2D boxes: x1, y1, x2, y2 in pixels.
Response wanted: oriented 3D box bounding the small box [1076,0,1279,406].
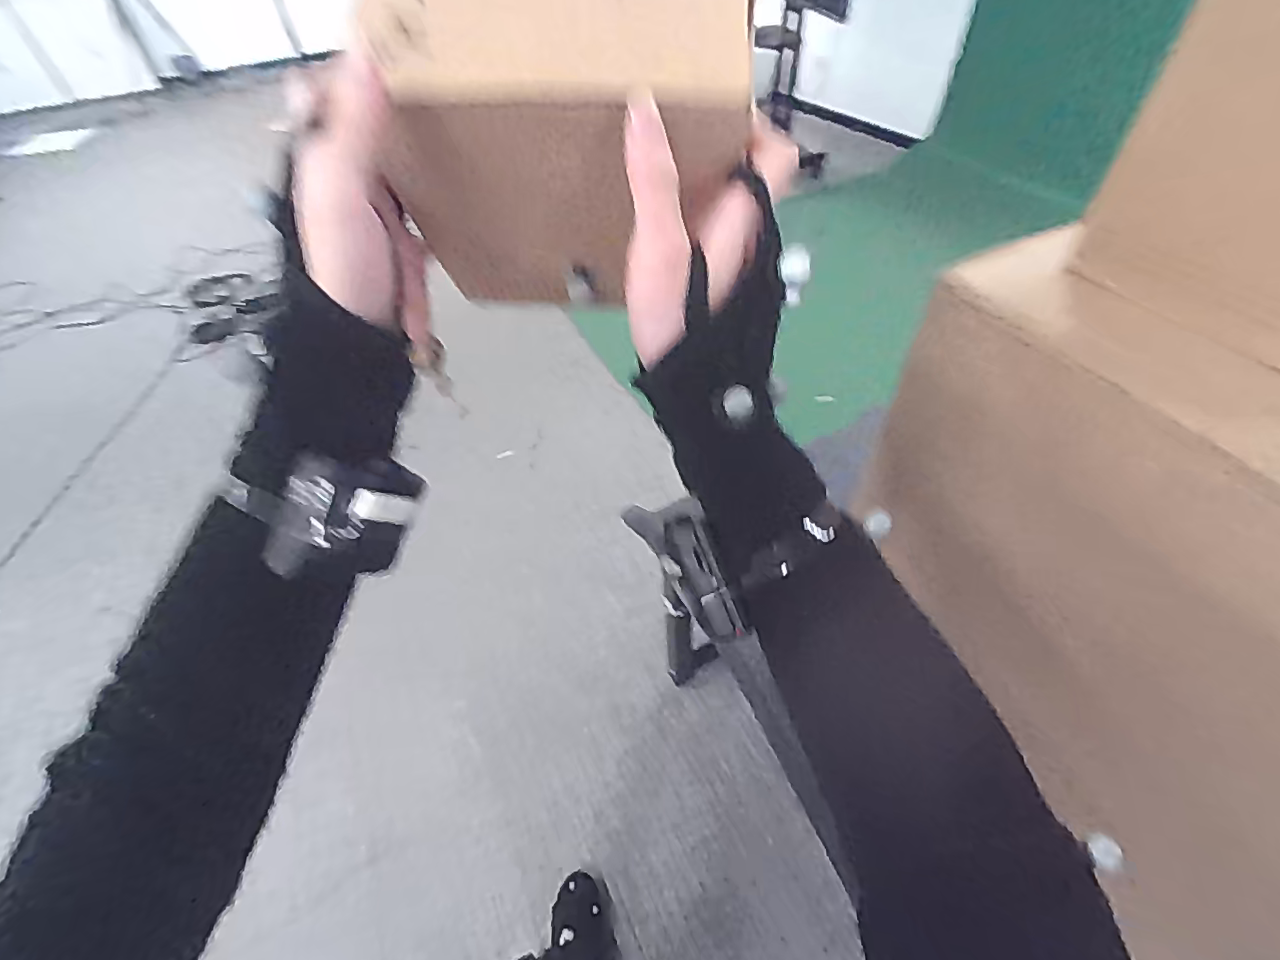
[{"bbox_3d":[0.384,-0.151,0.269,0.168,0.176,0.179,-21,51,-10],"label":"small box"}]
